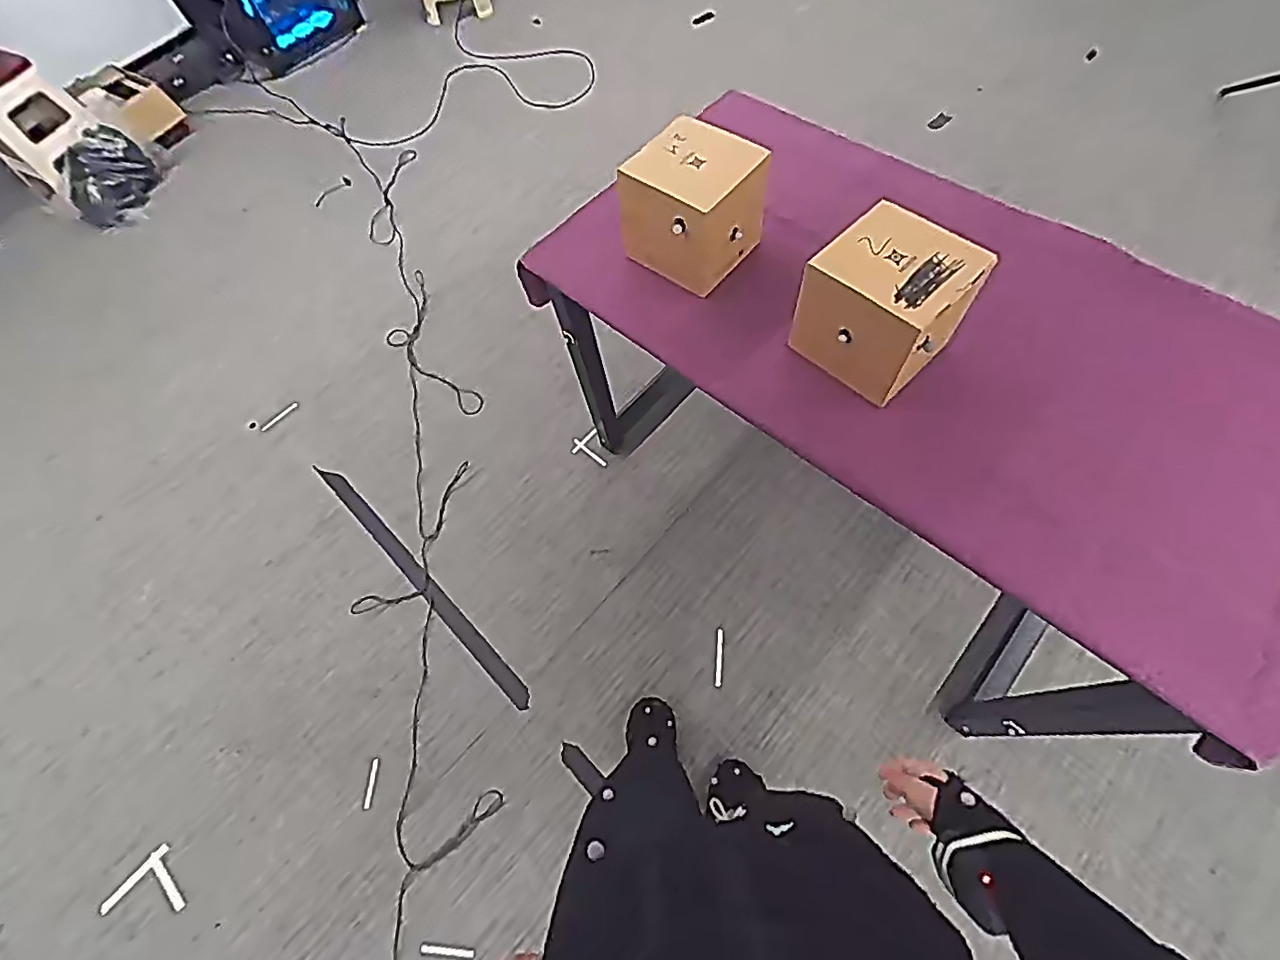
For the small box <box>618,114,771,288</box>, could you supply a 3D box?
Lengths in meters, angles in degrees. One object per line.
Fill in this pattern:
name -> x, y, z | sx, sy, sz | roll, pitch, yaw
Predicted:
small box -> 0.088, -0.448, 0.888 | 0.179, 0.176, 0.168 | 36, 72, 20
